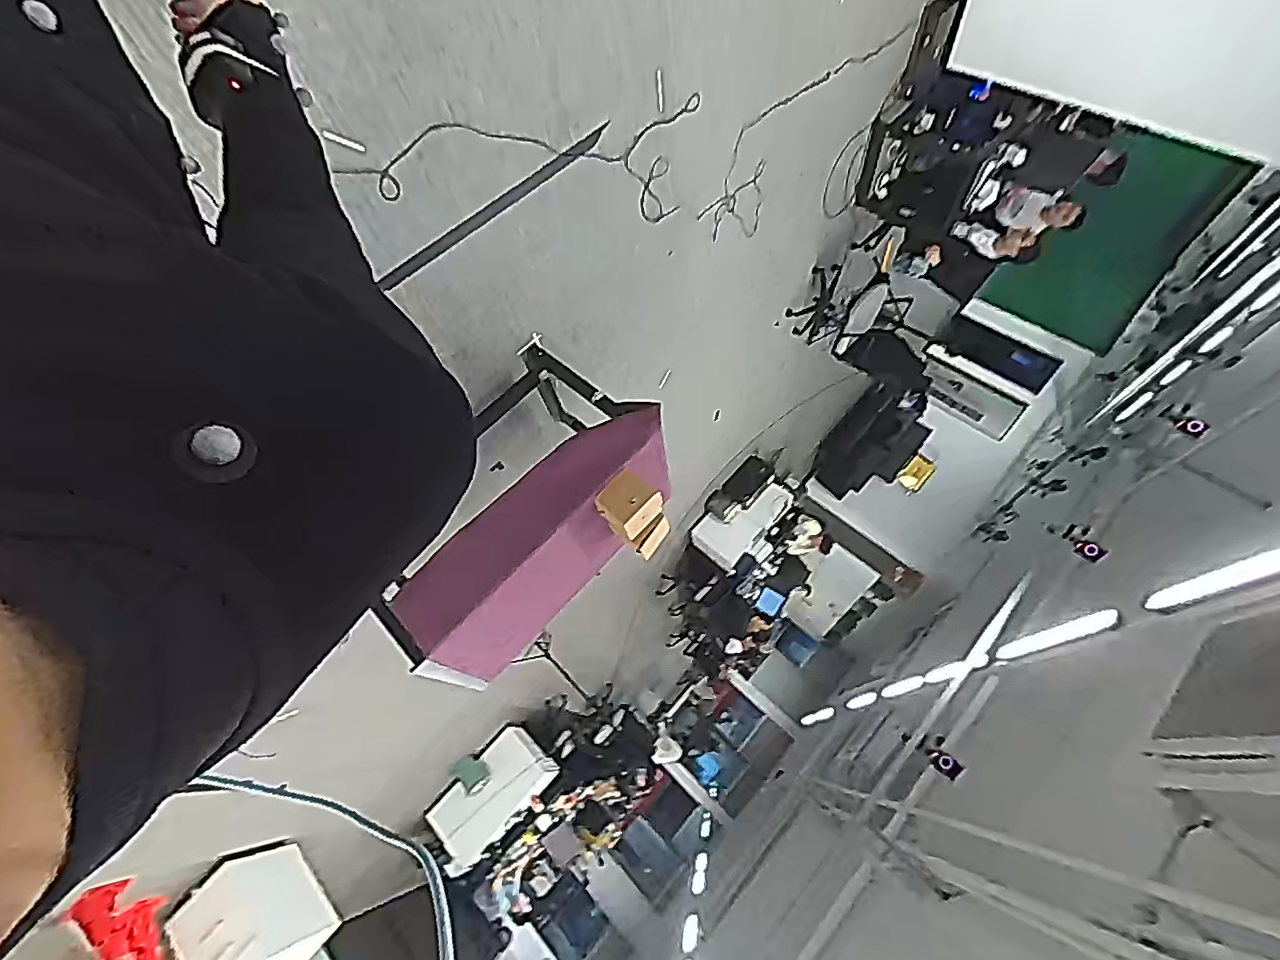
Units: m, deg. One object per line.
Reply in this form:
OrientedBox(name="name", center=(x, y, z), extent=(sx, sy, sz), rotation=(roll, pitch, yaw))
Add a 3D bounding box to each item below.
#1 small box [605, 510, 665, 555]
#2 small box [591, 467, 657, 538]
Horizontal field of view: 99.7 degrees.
OrientedBox(name="small box", center=(-0.020, 0.180, 2.265), extent=(0.179, 0.176, 0.168), rotation=(-46, 156, -12))
OrientedBox(name="small box", center=(-0.060, 0.082, 2.047), extent=(0.179, 0.176, 0.168), rotation=(-45, 156, -14))
